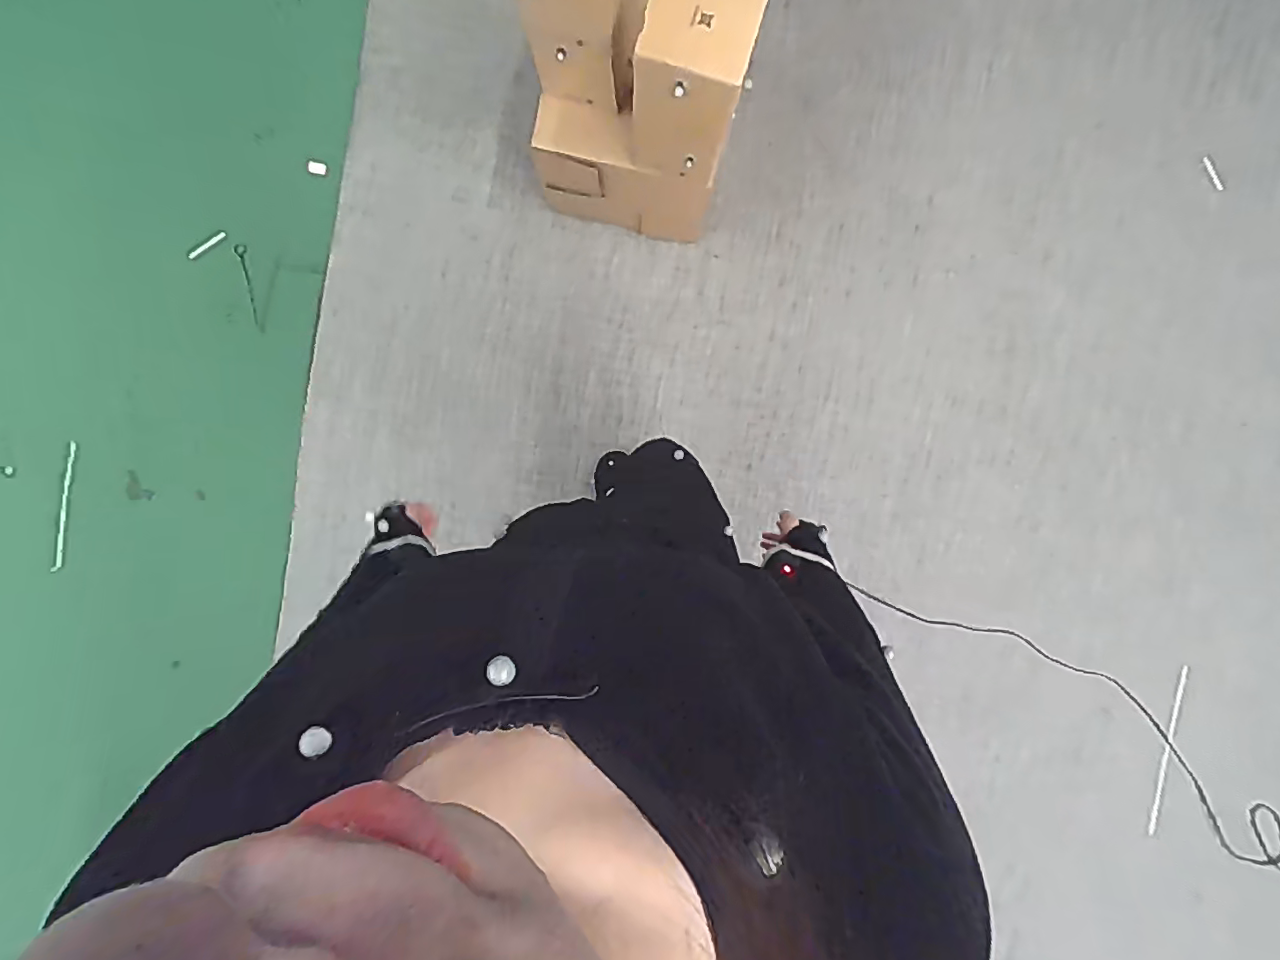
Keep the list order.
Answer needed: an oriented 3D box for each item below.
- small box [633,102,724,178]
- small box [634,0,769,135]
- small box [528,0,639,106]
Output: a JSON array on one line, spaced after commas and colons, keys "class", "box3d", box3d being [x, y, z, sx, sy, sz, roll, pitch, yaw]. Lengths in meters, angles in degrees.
[{"class": "small box", "box3d": [0.090, -0.733, 1.061, 0.168, 0.176, 0.179, 17, 91, -1]}, {"class": "small box", "box3d": [0.097, -0.716, 0.899, 0.179, 0.176, 0.168, 17, 92, -1]}, {"class": "small box", "box3d": [-0.103, -0.889, 1.059, 0.168, 0.176, 0.179, 17, 91, 1]}]
